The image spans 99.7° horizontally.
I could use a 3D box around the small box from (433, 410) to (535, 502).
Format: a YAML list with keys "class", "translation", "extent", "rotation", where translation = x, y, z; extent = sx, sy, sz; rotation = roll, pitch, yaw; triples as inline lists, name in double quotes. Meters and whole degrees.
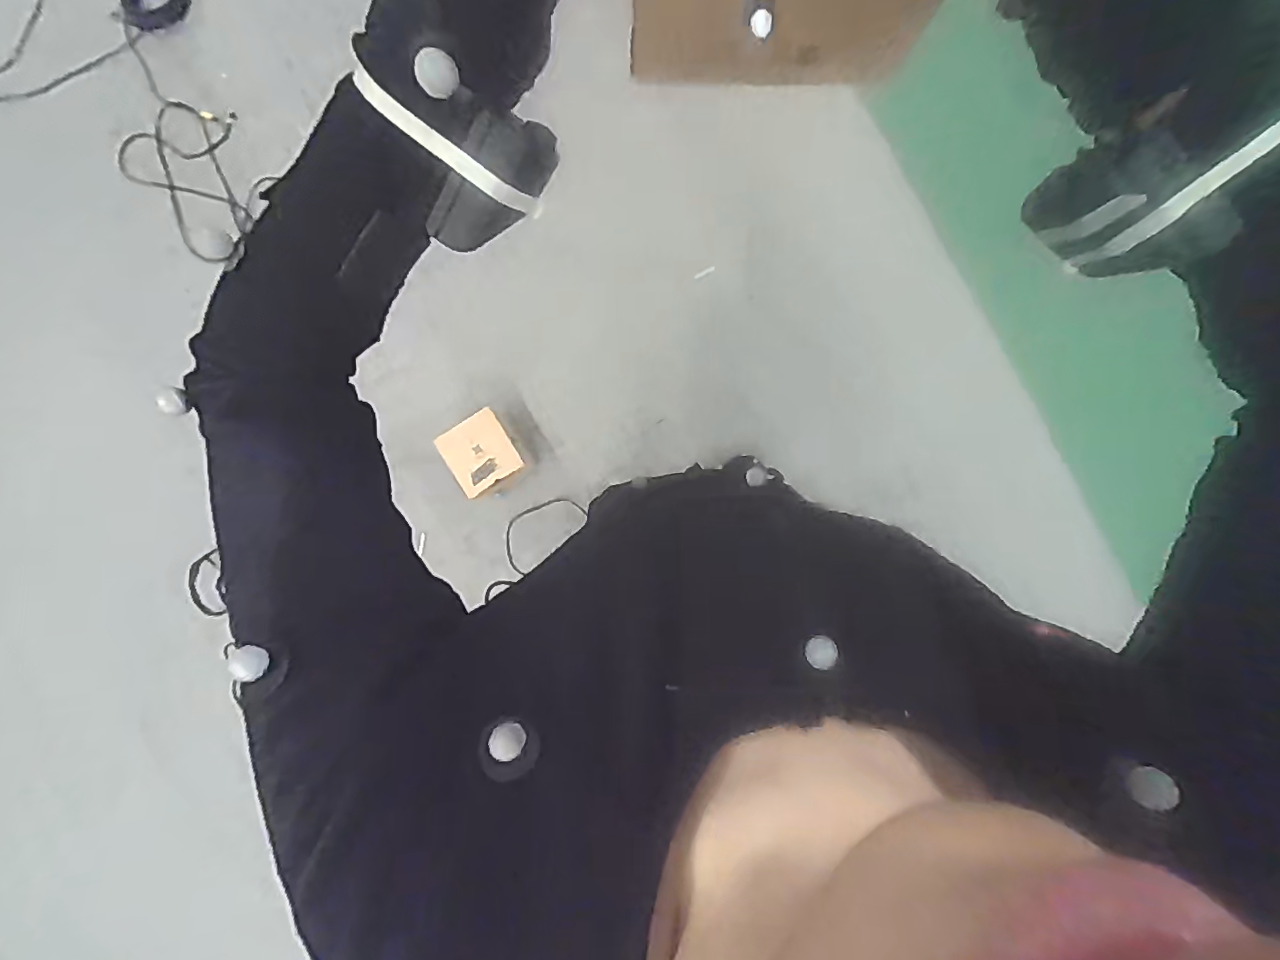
- class: "small box"
  translation: [-0.394, -0.061, 1.402]
  extent: [0.168, 0.176, 0.179]
  rotation: [-32, 89, 0]
